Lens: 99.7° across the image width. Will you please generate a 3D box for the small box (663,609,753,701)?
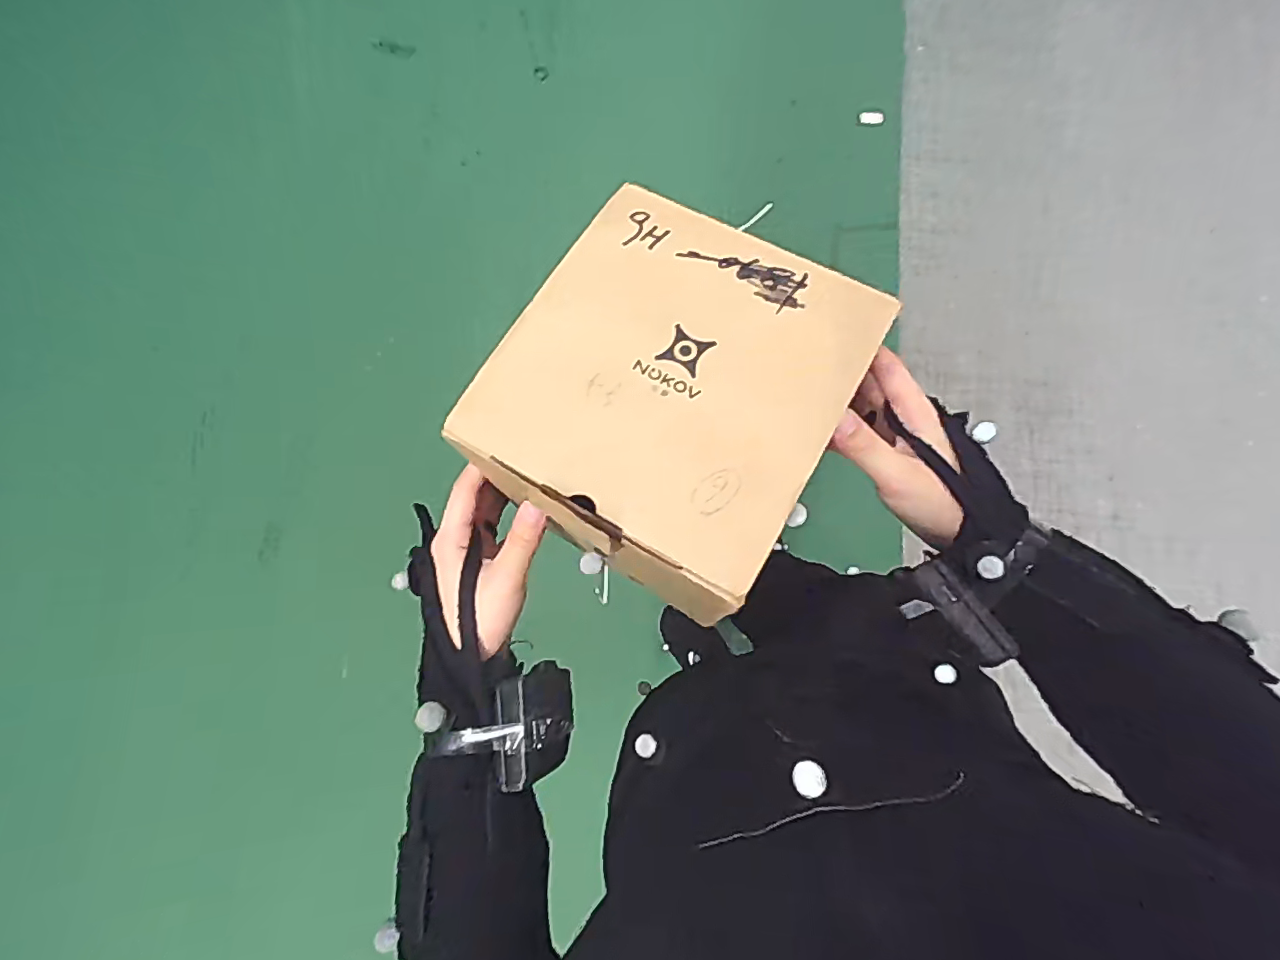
[{"bbox_3d":[0.148,0.365,1.157,0.179,0.176,0.168,0,80,16],"label":"small box"}]
